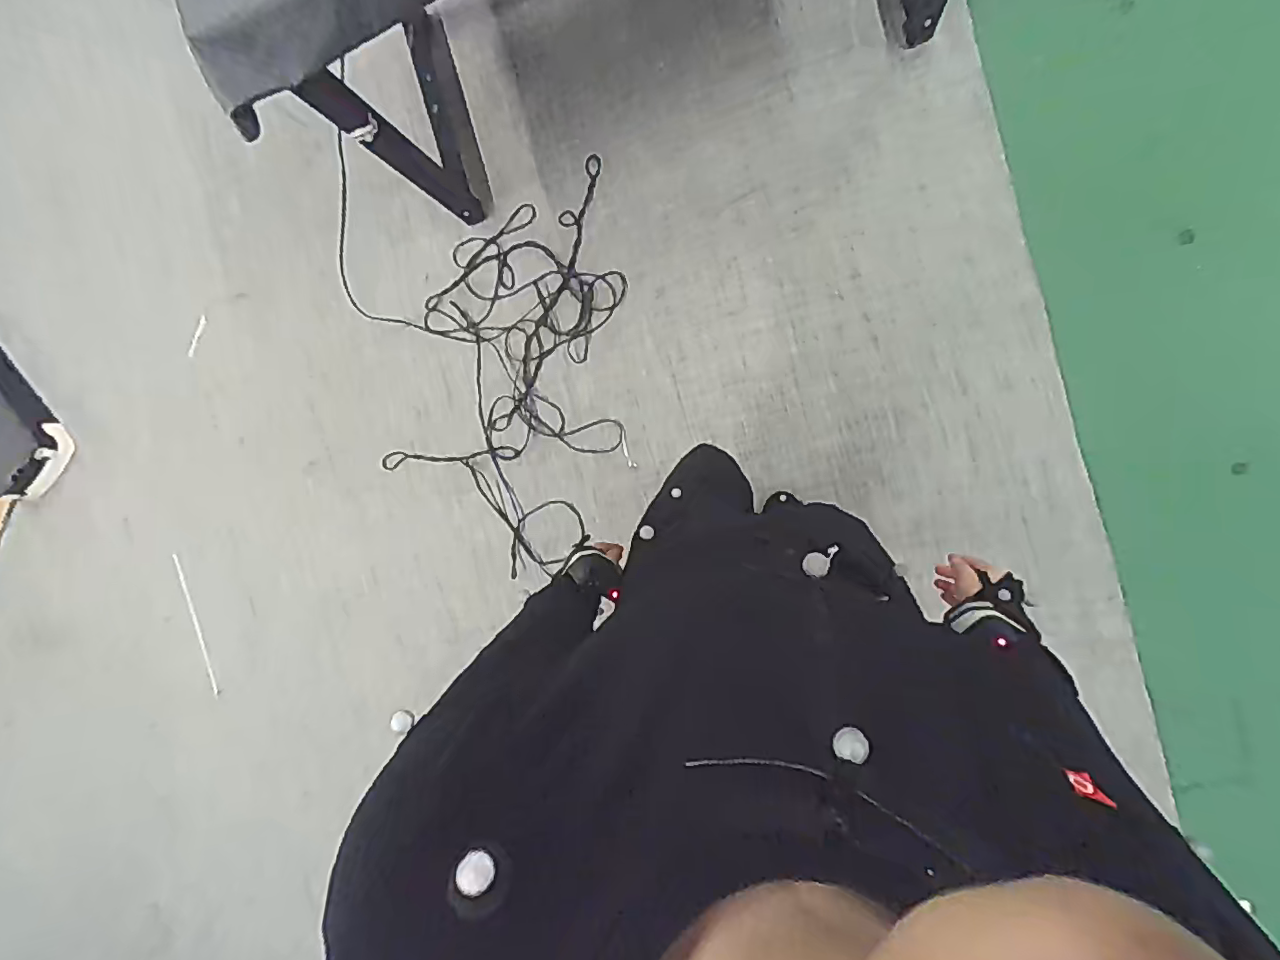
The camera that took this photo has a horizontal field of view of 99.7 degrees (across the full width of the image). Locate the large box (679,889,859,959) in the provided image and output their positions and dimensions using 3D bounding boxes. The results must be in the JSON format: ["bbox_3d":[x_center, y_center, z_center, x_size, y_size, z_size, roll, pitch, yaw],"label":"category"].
[{"bbox_3d":[0.323,1.237,1.258,0.408,0.320,0.320,-18,89,14],"label":"large box"}]
